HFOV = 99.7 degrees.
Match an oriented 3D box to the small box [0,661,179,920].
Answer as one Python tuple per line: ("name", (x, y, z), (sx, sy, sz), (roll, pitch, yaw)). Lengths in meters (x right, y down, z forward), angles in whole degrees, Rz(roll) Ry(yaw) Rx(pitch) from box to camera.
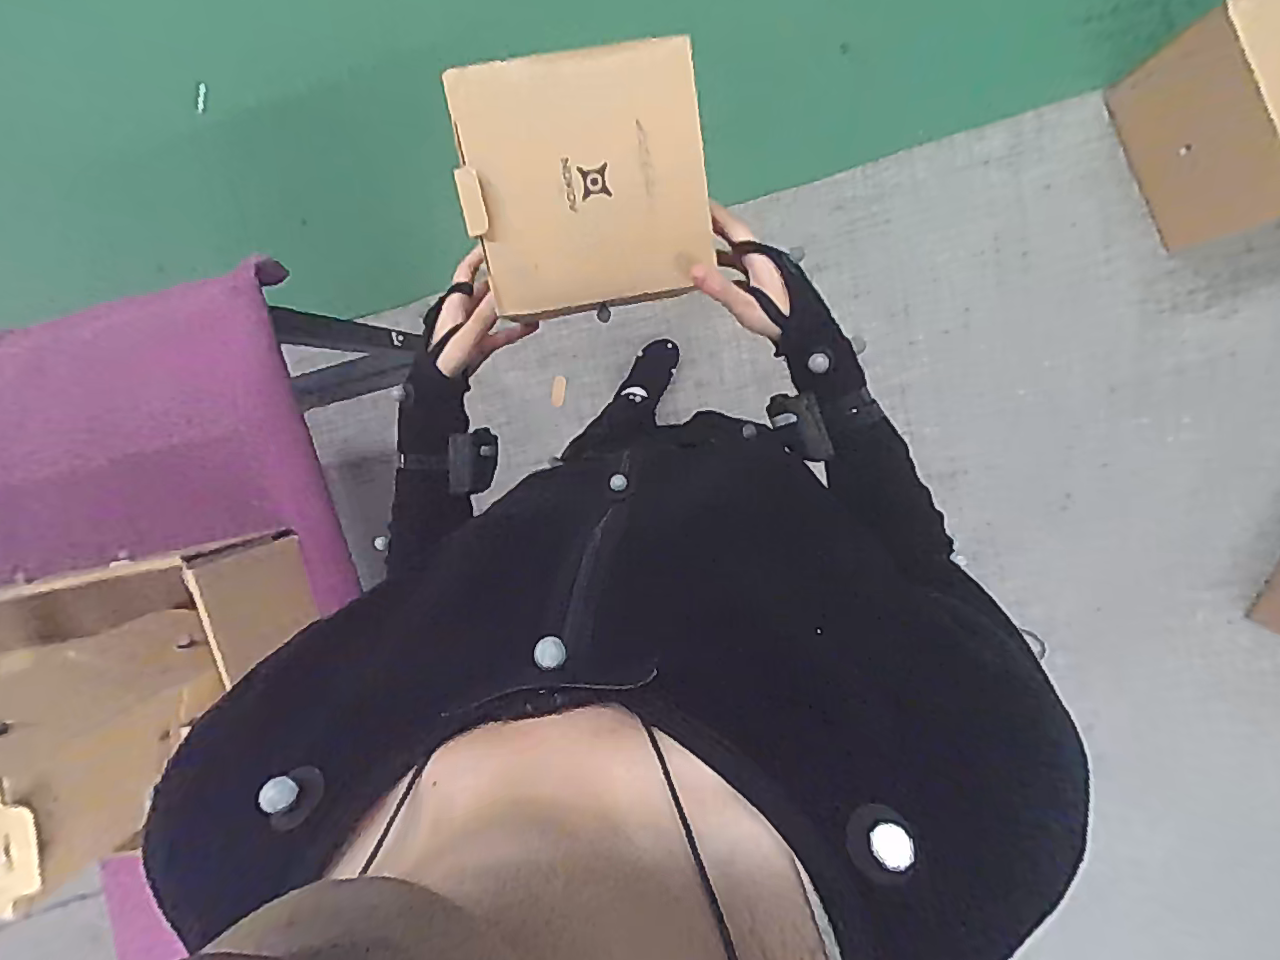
("small box", (-0.662, 0.326, 0.603), (0.179, 0.176, 0.168), (10, 101, 8))

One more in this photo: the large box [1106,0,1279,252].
("large box", (1.266, -0.749, 1.078), (0.320, 0.320, 0.408), (-27, 93, 10))

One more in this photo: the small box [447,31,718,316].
("small box", (-0.041, -0.238, 0.467), (0.179, 0.176, 0.168), (-10, 106, -2))
